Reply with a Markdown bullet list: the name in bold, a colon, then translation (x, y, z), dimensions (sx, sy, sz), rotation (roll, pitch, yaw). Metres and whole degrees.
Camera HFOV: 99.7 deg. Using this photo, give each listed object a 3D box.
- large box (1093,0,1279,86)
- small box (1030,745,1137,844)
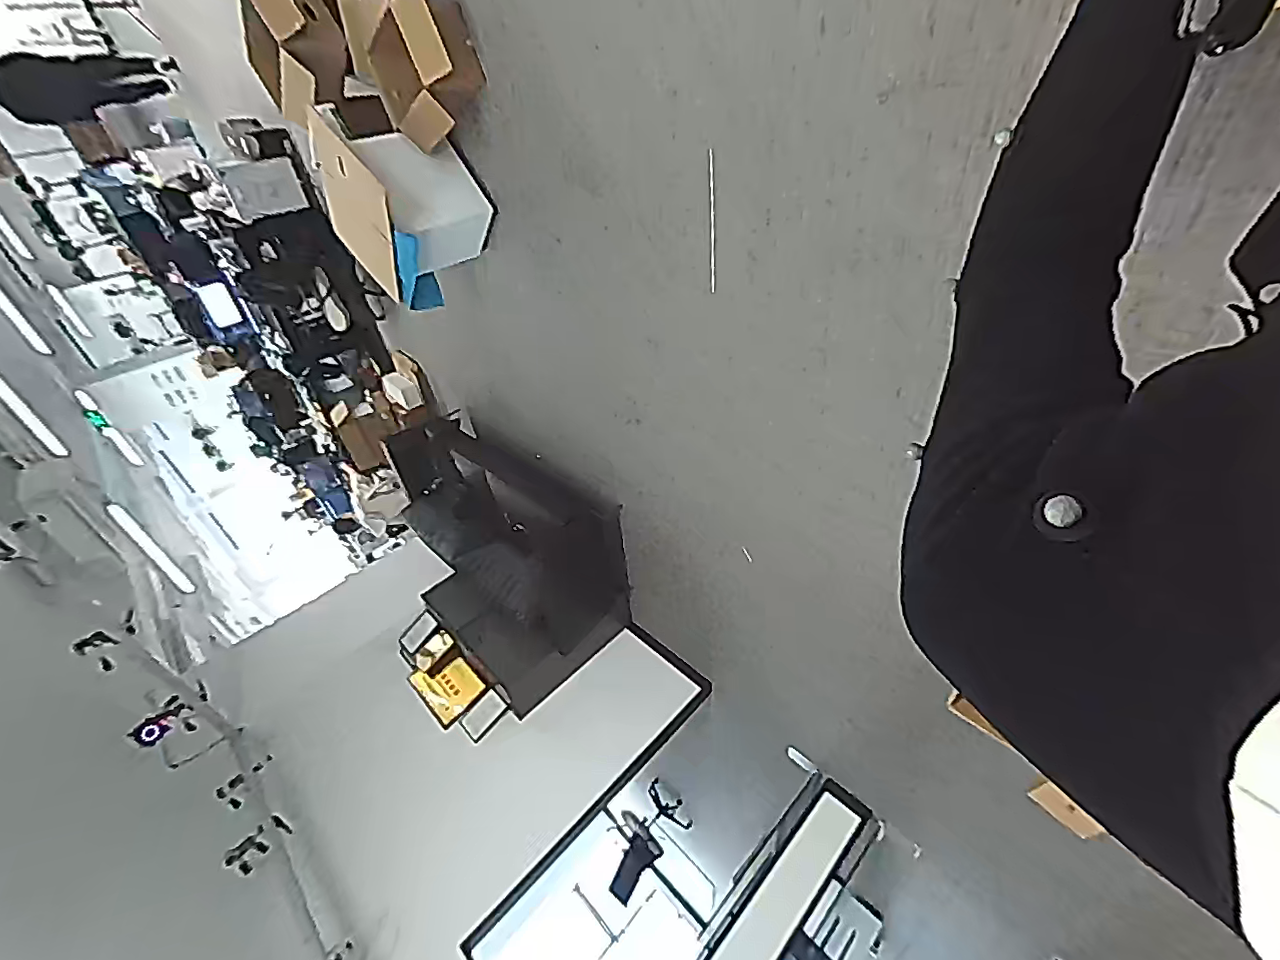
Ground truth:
- **large box**: translation (0.930, -0.856, 0.773), dimensions (0.408, 0.320, 0.320), rotation (-3, 117, 54)
- **small box**: translation (1.325, 0.936, 1.614), dimensions (0.168, 0.176, 0.179), rotation (39, 145, 31)
